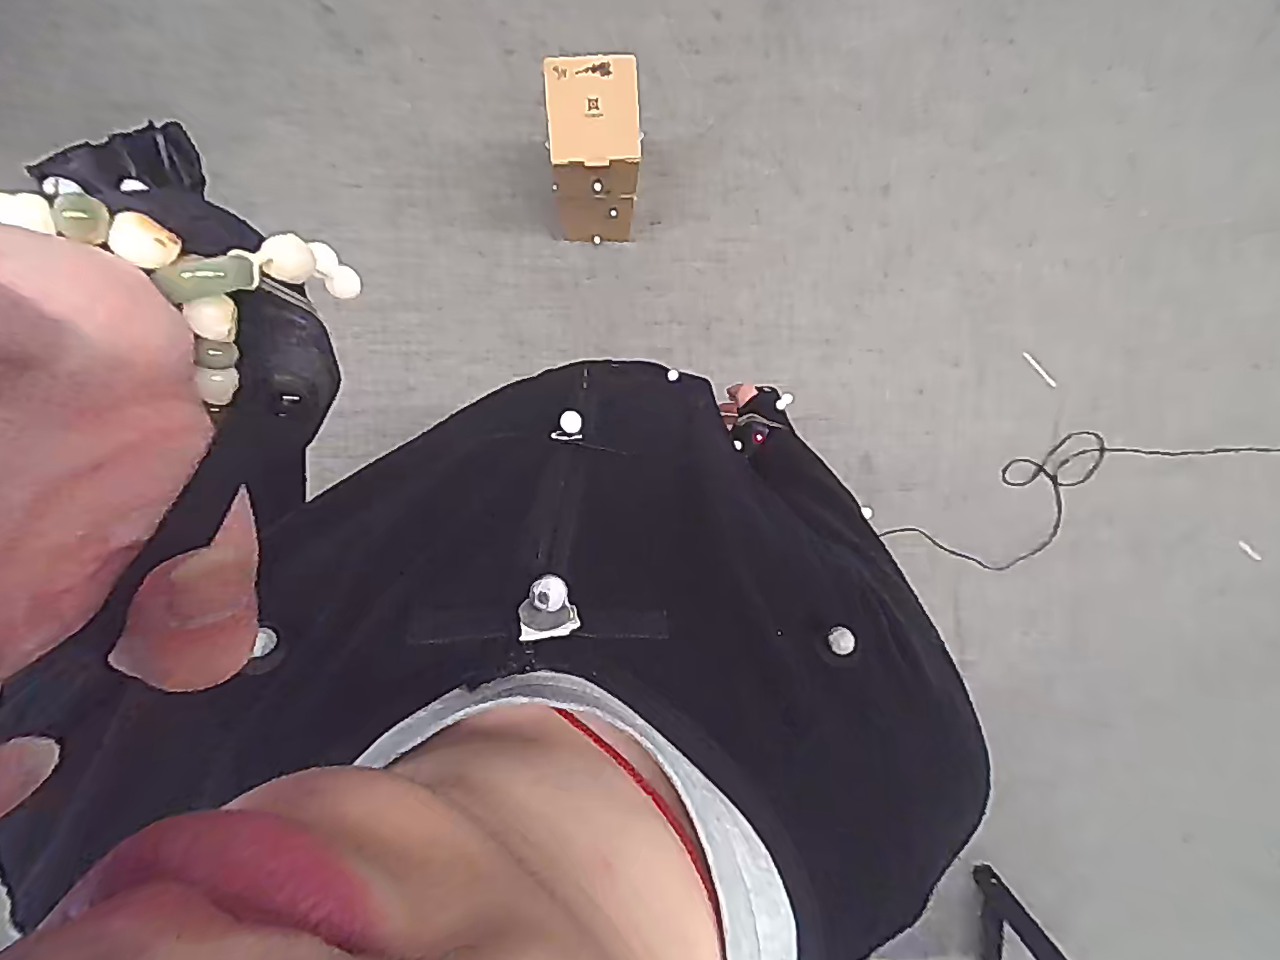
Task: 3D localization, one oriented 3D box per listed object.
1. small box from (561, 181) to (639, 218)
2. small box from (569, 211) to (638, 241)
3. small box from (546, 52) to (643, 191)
[{"bbox_3d":[-0.087,-0.693,1.193,0.168,0.176,0.179,-2,97,-2],"label":"small box"},{"bbox_3d":[-0.091,-0.717,1.353,0.168,0.176,0.179,-1,99,-1],"label":"small box"},{"bbox_3d":[-0.080,-0.669,1.031,0.168,0.176,0.179,-4,100,-1],"label":"small box"}]
